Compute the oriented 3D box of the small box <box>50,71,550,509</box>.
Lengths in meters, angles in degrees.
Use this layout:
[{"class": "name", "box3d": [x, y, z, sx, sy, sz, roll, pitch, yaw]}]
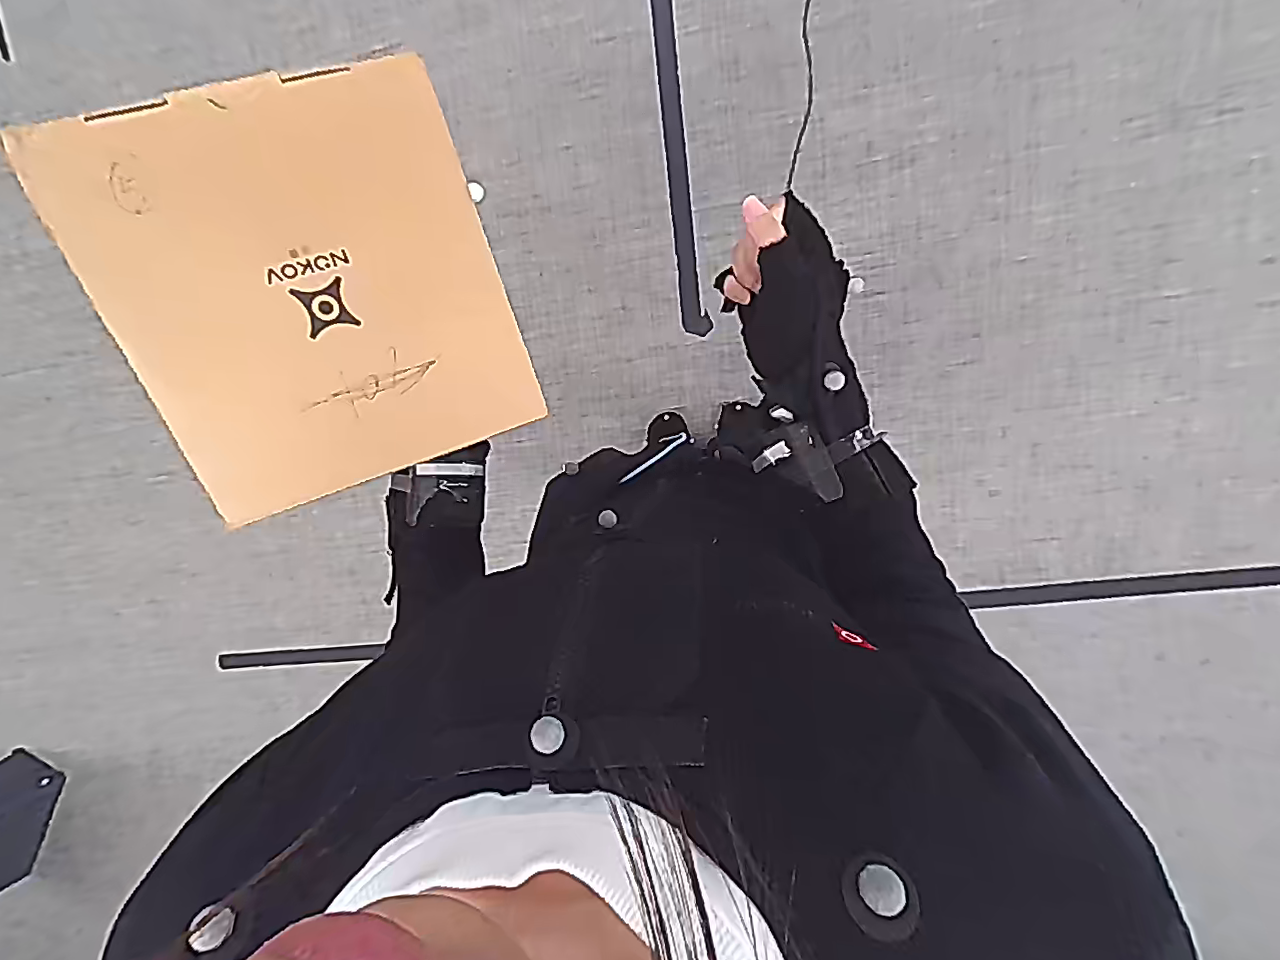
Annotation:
[{"class": "small box", "box3d": [-0.173, -0.107, 0.340, 0.168, 0.176, 0.179, -22, 109, -13]}]
